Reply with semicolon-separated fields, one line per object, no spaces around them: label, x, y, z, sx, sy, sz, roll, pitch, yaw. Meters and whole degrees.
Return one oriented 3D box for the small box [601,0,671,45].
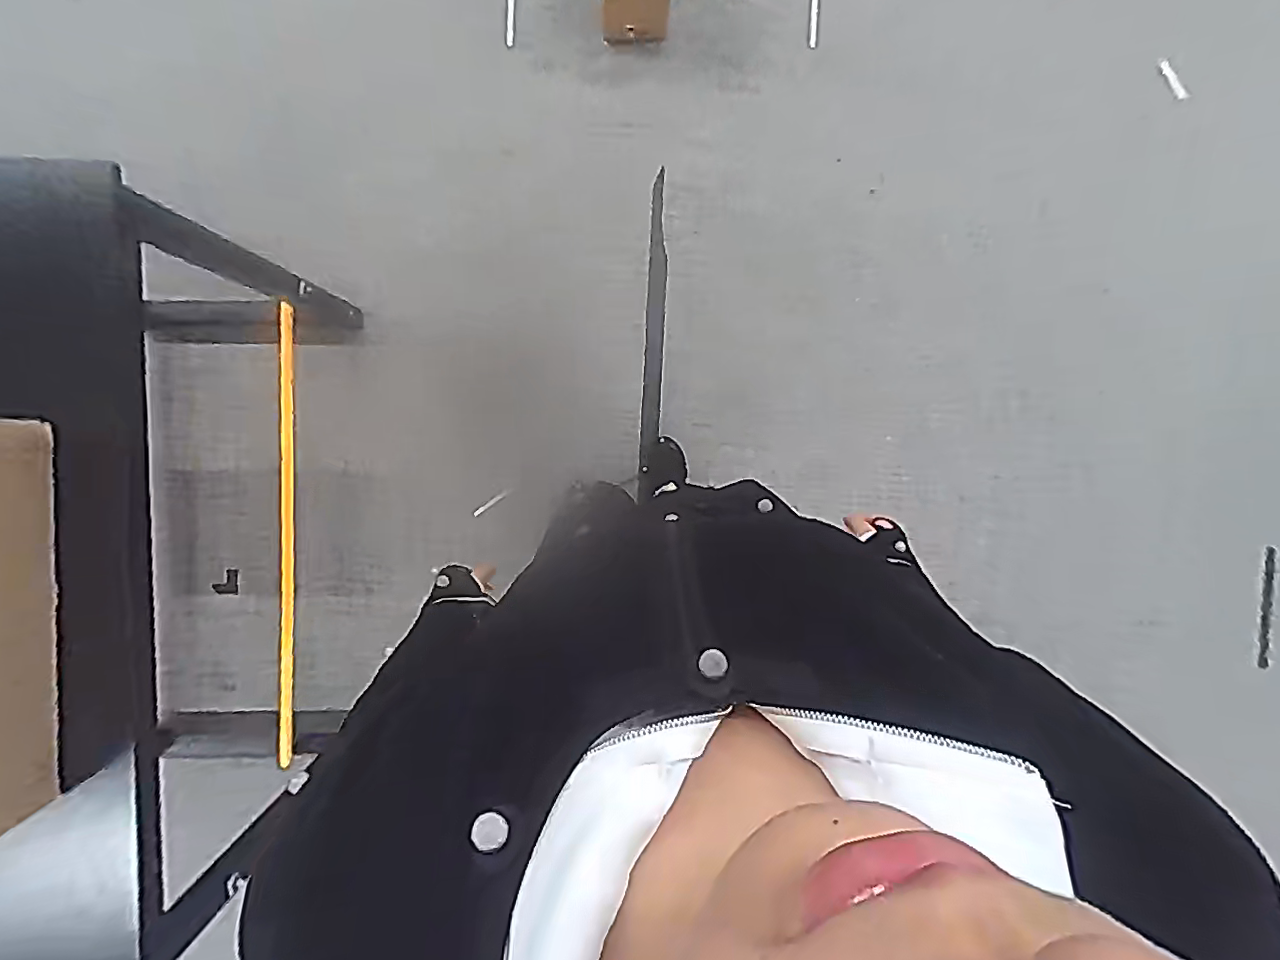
small box;-0.015;-1.231;1.339;0.168;0.176;0.179;-5;95;-1
